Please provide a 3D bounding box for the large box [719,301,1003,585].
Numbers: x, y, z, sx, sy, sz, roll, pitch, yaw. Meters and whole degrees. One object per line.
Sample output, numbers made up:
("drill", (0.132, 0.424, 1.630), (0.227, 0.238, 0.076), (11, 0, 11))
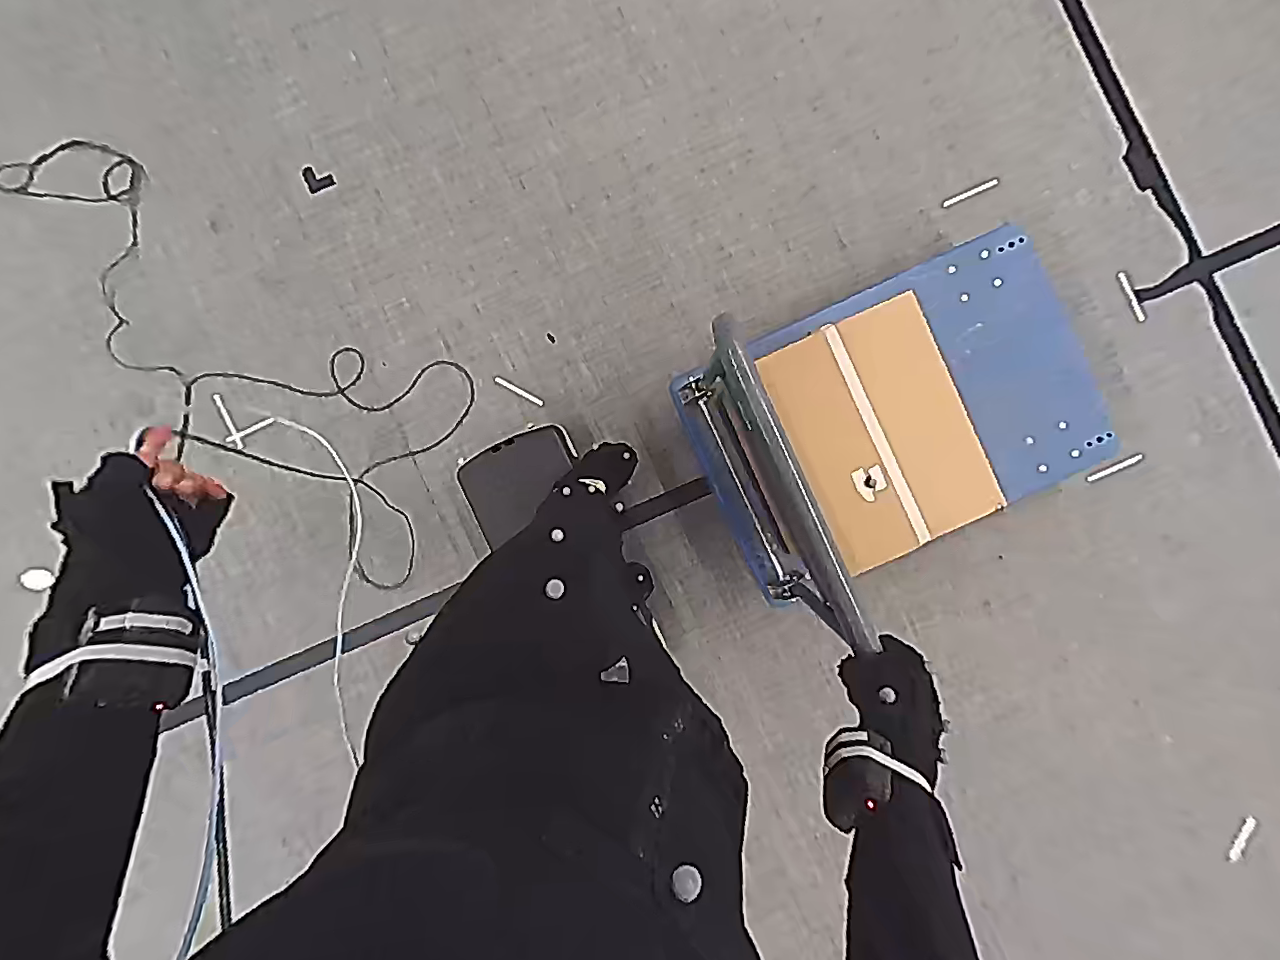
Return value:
("large box", (0.393, -0.066, 1.059), (0.320, 0.320, 0.408), (-24, 92, 1))
